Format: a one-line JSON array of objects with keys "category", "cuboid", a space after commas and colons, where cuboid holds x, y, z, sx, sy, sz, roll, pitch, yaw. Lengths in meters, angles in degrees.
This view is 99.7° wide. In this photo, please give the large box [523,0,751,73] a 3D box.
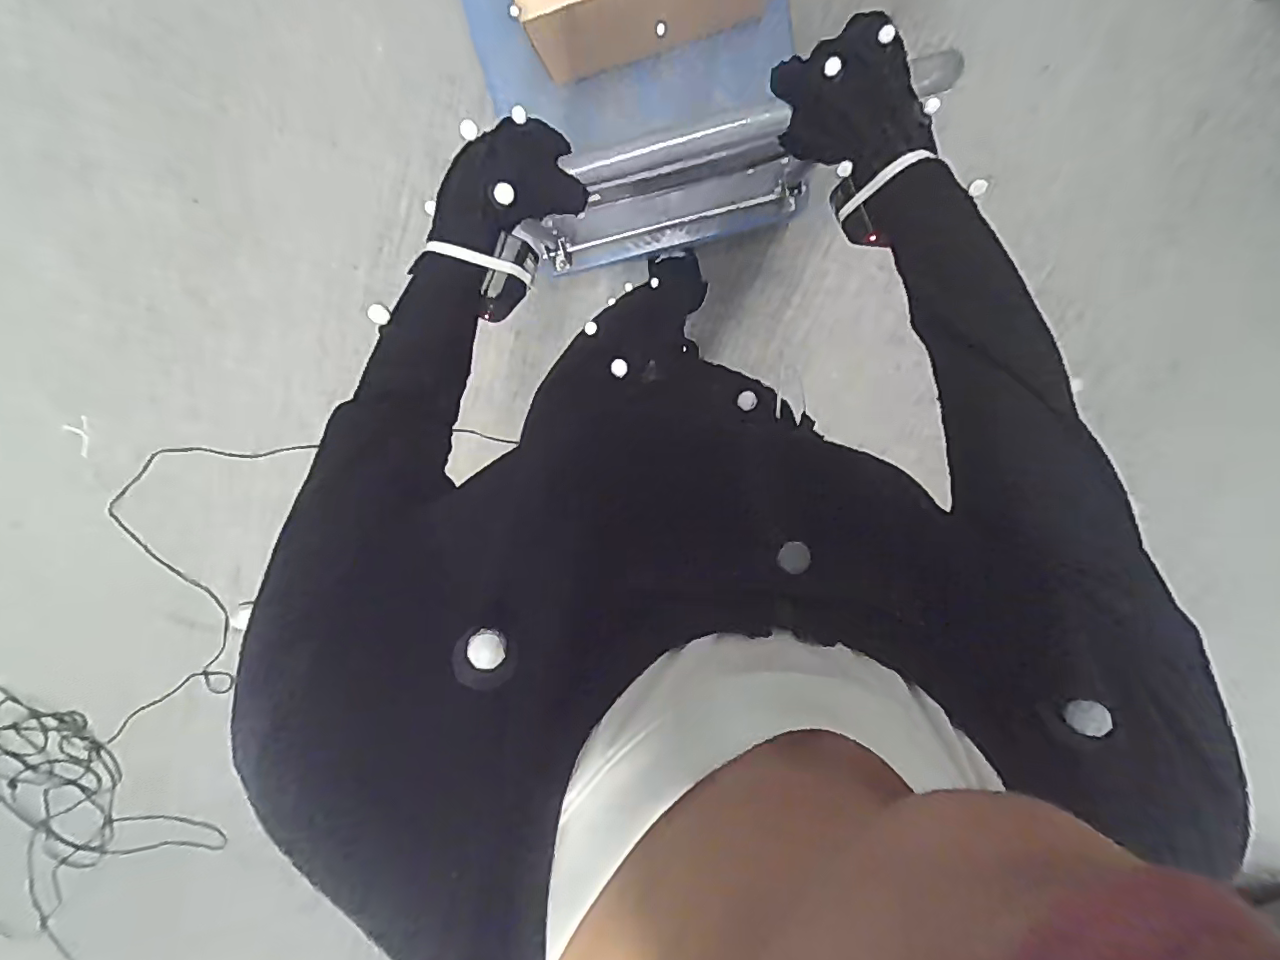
[{"category": "large box", "cuboid": [-0.008, -0.902, 0.819, 0.408, 0.320, 0.320, -15, 111, 8]}]
